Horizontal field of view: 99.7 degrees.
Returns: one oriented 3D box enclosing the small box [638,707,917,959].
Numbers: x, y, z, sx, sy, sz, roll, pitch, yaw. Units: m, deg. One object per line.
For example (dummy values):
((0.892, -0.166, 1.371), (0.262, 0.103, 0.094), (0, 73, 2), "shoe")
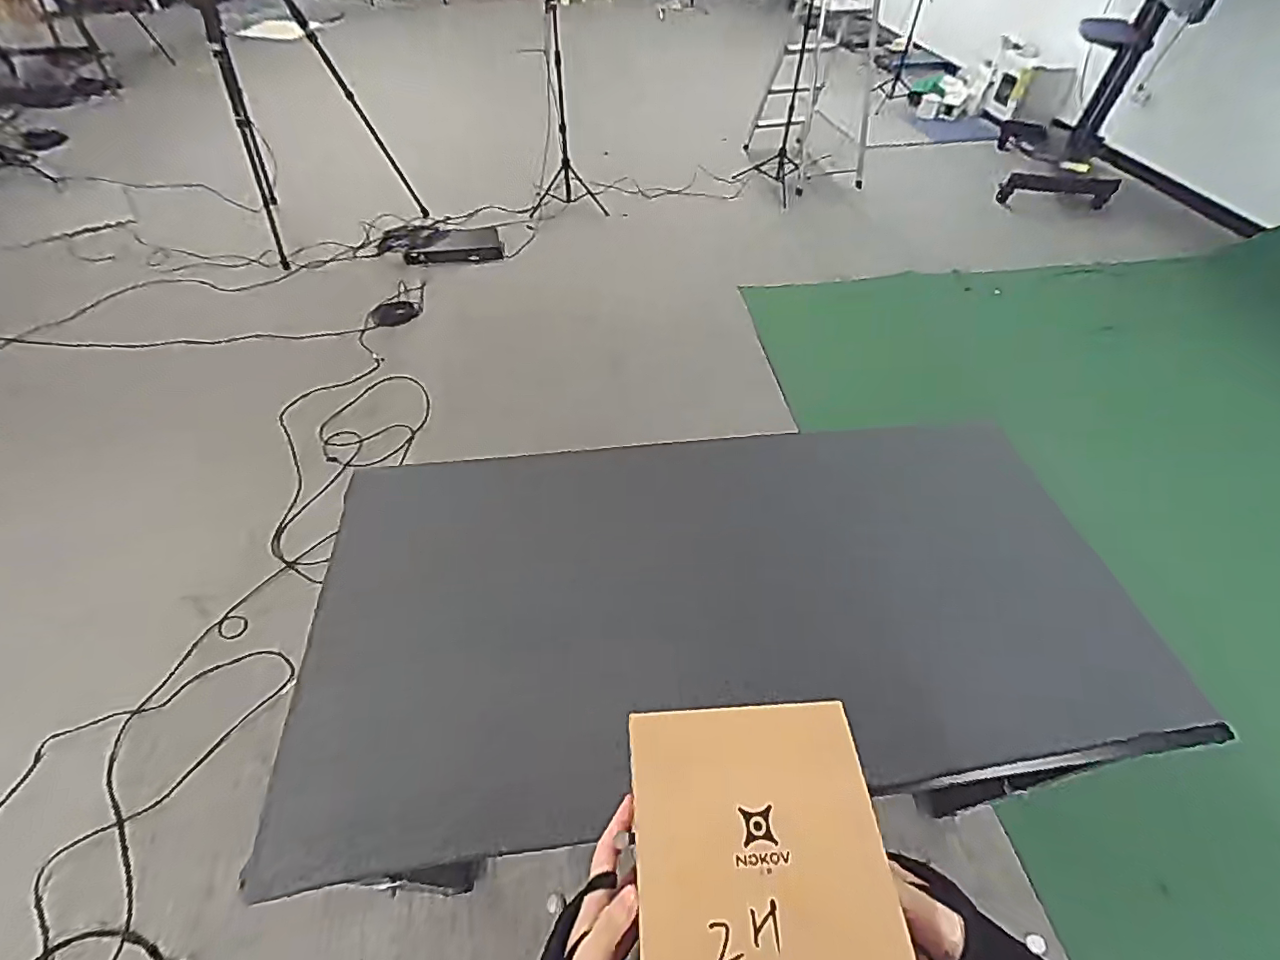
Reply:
((0.083, 0.297, 0.425), (0.168, 0.176, 0.179), (-3, 50, -1), "small box")
